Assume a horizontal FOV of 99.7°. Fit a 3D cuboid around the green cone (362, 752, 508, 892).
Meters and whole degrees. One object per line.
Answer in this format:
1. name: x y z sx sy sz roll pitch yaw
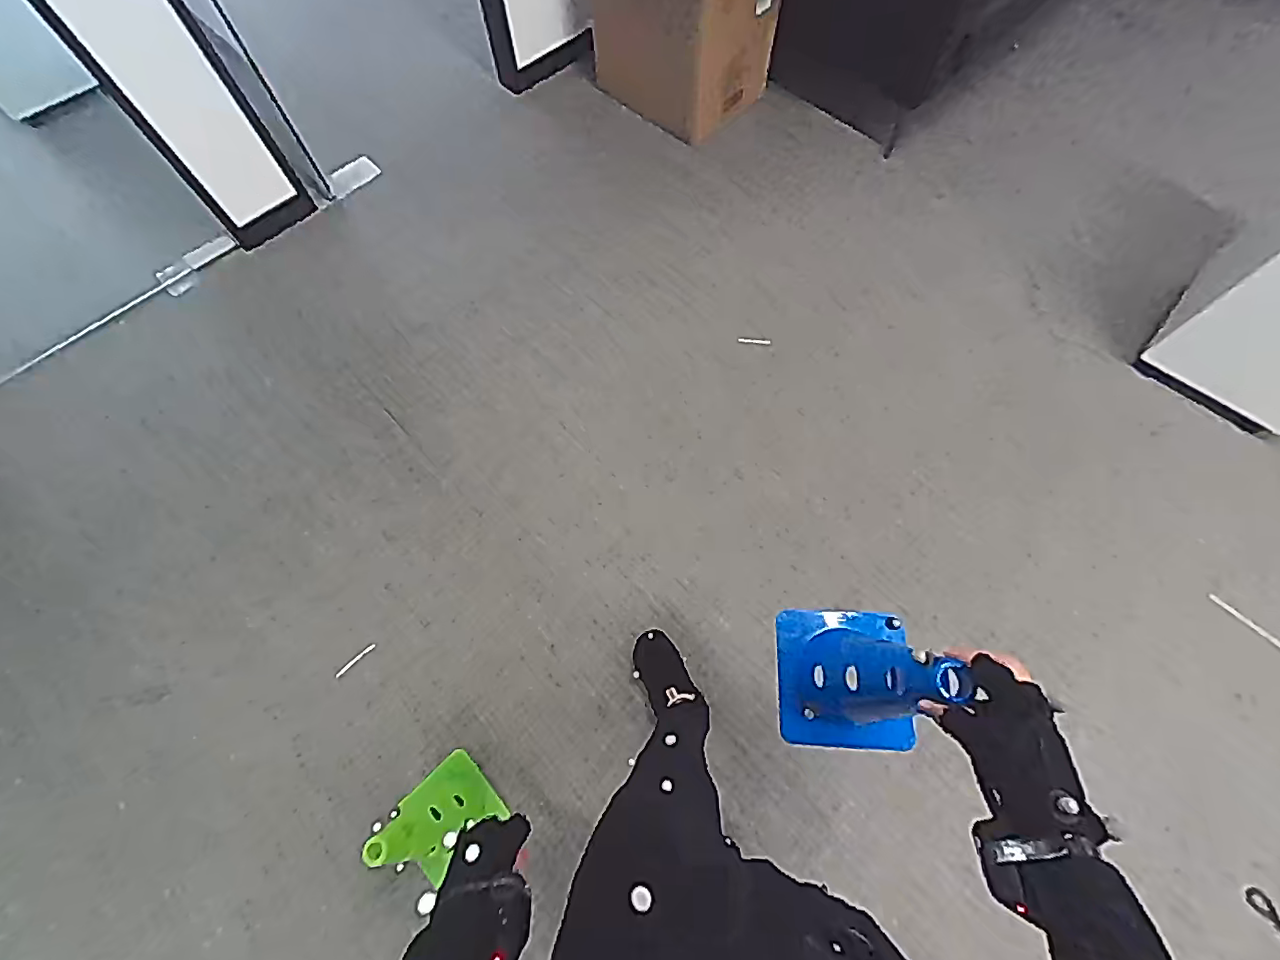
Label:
1. green cone: -0.418 0.666 1.014 0.202 0.368 0.200 -42 72 -16
